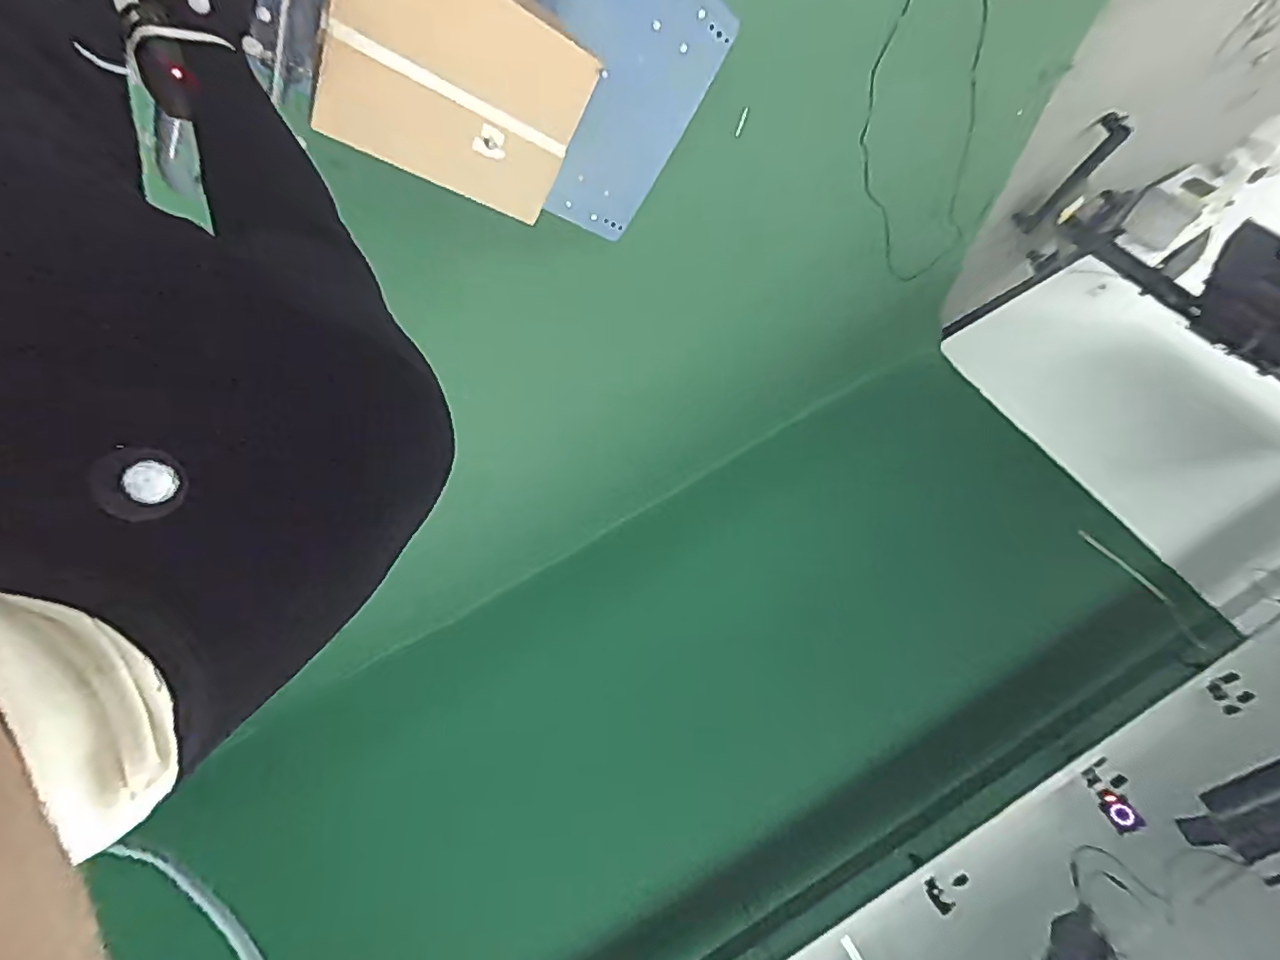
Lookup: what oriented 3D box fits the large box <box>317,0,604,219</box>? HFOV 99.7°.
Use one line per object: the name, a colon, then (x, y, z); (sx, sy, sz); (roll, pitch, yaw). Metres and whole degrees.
large box: (-0.346, -0.769, 1.001); (0.408, 0.320, 0.320); (8, 135, -38)
